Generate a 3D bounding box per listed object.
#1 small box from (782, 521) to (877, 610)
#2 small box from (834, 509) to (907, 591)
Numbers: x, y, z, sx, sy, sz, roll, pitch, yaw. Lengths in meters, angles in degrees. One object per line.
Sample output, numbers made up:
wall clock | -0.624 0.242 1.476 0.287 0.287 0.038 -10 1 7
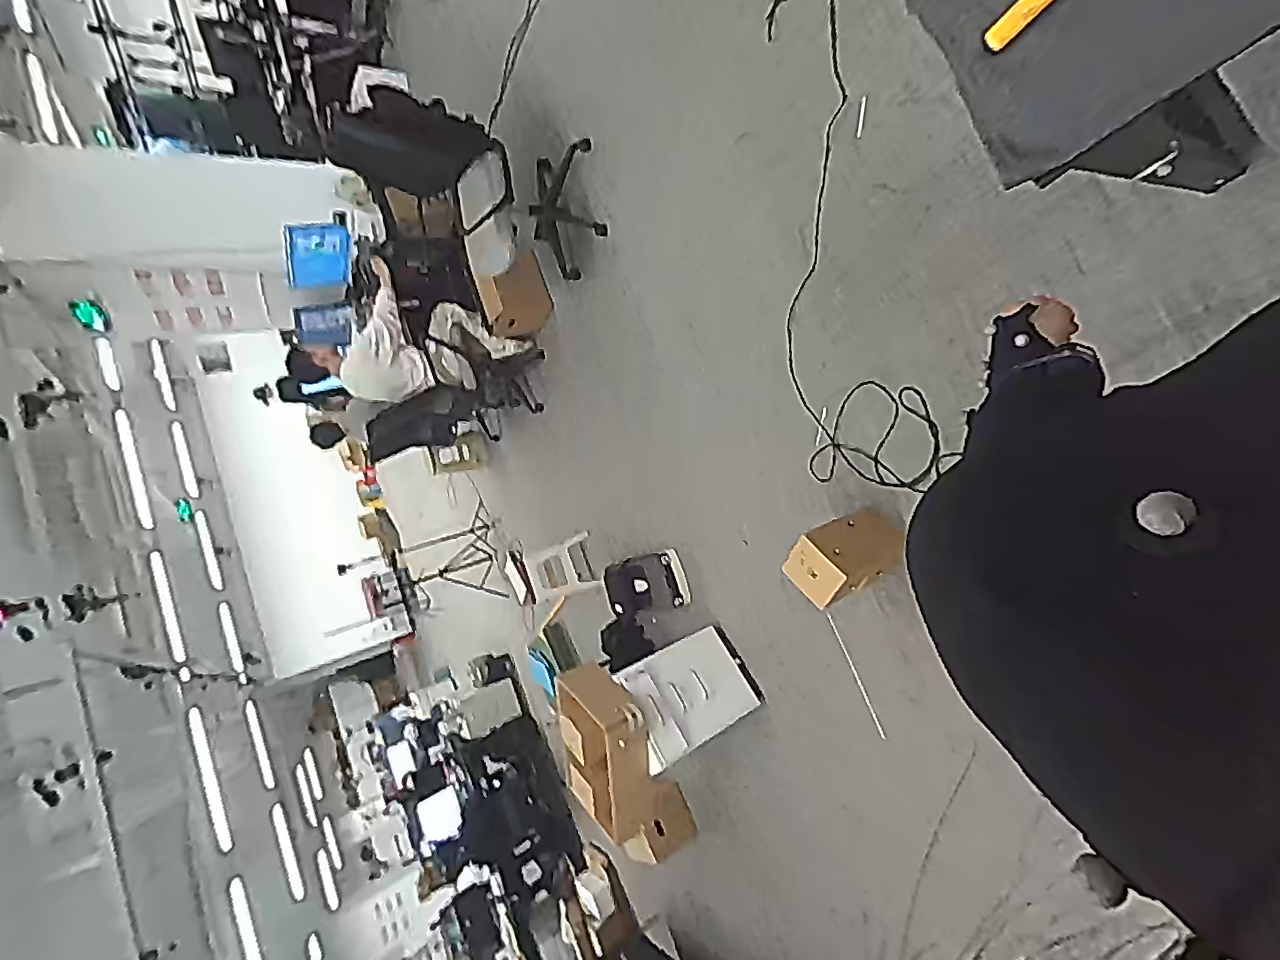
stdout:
small box | 0.567 0.249 1.617 0.179 0.176 0.168 49 140 32
small box | 0.701 0.214 1.708 0.179 0.176 0.168 45 138 37
